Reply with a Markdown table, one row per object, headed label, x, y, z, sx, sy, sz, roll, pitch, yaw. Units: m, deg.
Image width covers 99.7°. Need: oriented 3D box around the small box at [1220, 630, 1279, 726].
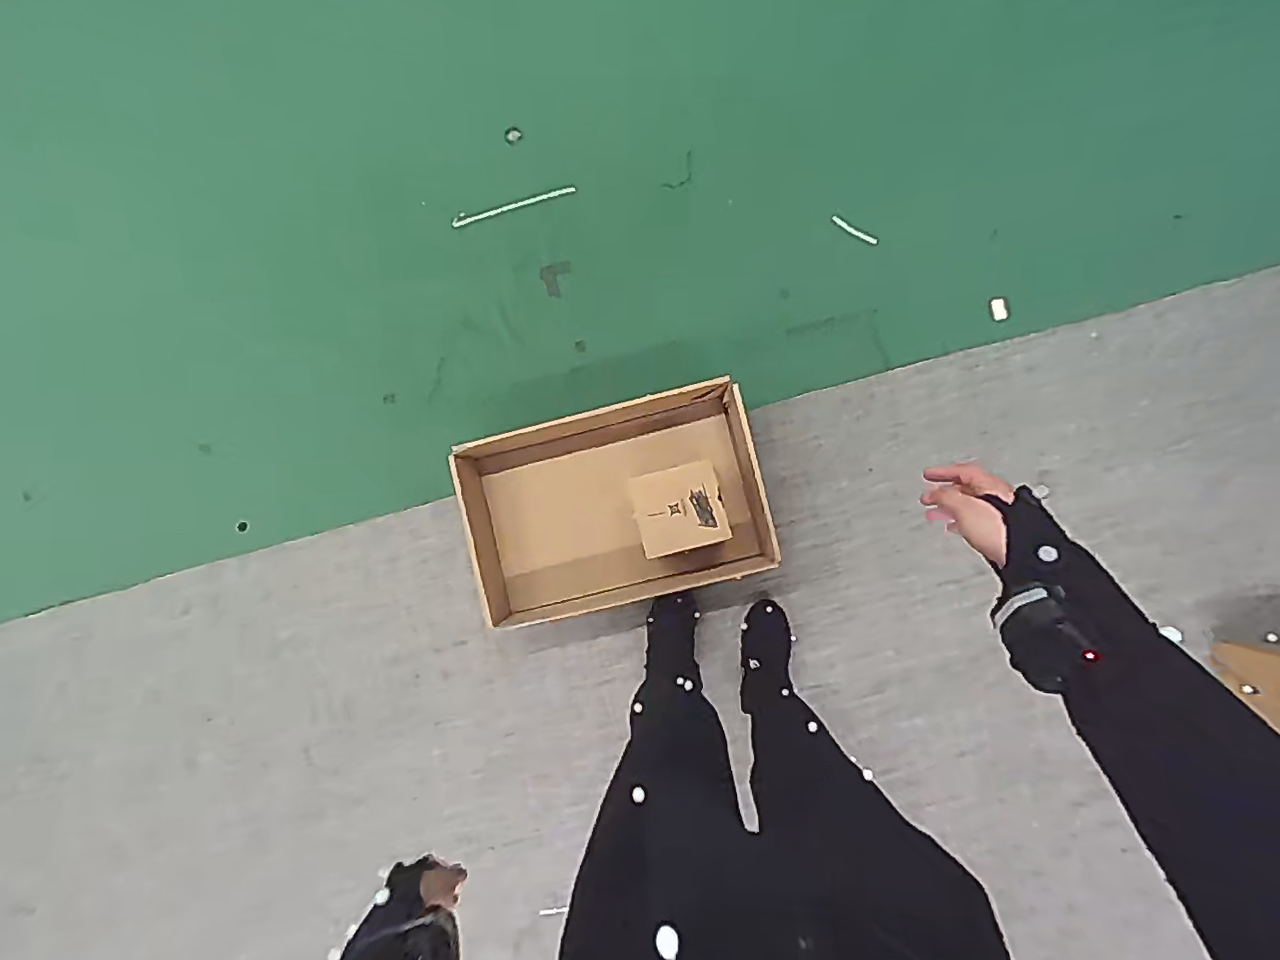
| label | x | y | z | sx | sy | sz | roll | pitch | yaw |
| --- | --- | --- | --- | --- | --- | --- | --- | --- | --- |
| small box | 1.330 | 0.403 | 1.085 | 0.179 | 0.176 | 0.168 | -4 | 88 | 4 |
